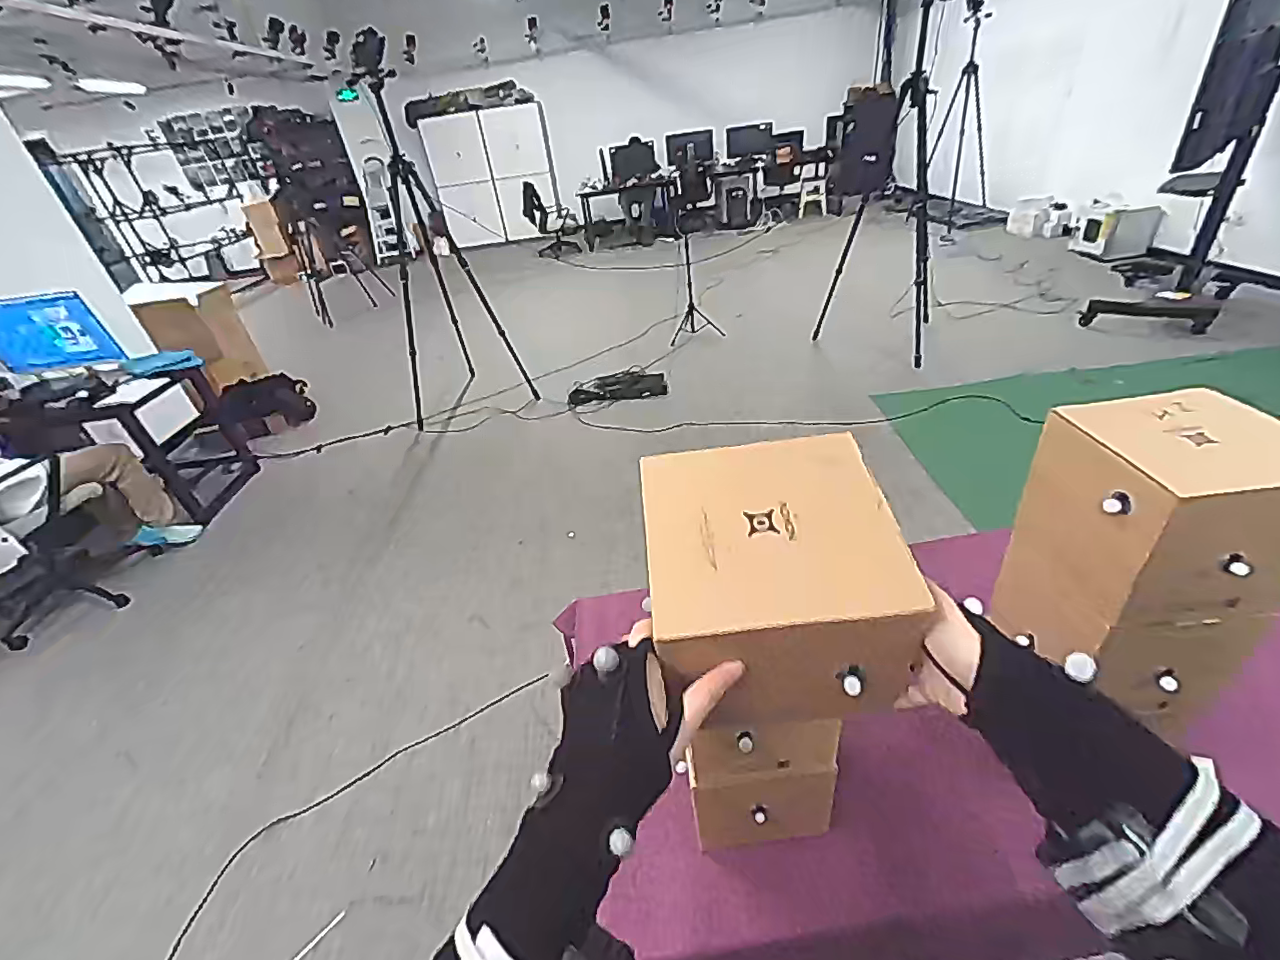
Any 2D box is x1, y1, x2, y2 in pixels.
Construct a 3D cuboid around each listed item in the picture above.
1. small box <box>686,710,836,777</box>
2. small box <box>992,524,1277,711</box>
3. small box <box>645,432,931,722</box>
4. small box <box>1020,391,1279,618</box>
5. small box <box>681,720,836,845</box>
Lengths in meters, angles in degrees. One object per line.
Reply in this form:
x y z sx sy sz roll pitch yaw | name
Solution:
0.133 0.236 0.657 0.168 0.176 0.179 -8 33 2 | small box
0.571 0.163 0.660 0.168 0.176 0.179 -6 35 5 | small box
0.101 0.084 0.447 0.179 0.176 0.168 -7 45 4 | small box
0.547 0.028 0.567 0.168 0.176 0.179 -7 33 4 | small box
0.151 0.371 0.745 0.179 0.176 0.168 -9 34 1 | small box
